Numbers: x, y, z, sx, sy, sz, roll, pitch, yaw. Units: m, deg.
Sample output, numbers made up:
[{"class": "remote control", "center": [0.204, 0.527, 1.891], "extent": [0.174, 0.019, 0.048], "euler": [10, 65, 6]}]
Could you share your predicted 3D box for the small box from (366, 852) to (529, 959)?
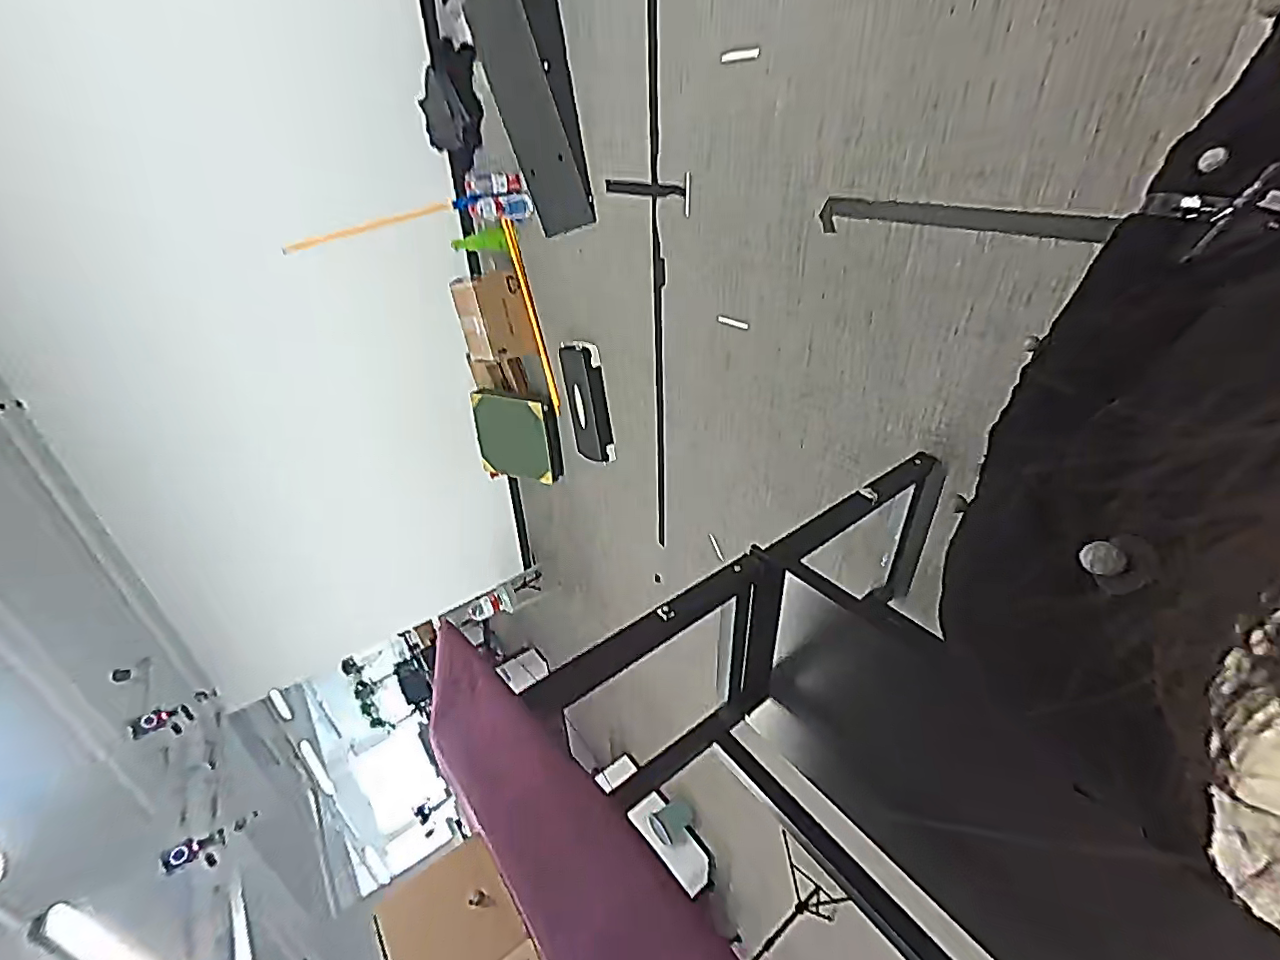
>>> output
[{"class": "small box", "center": [-0.268, 0.688, 0.785], "extent": [0.179, 0.176, 0.168], "euler": [33, 136, 44]}]
